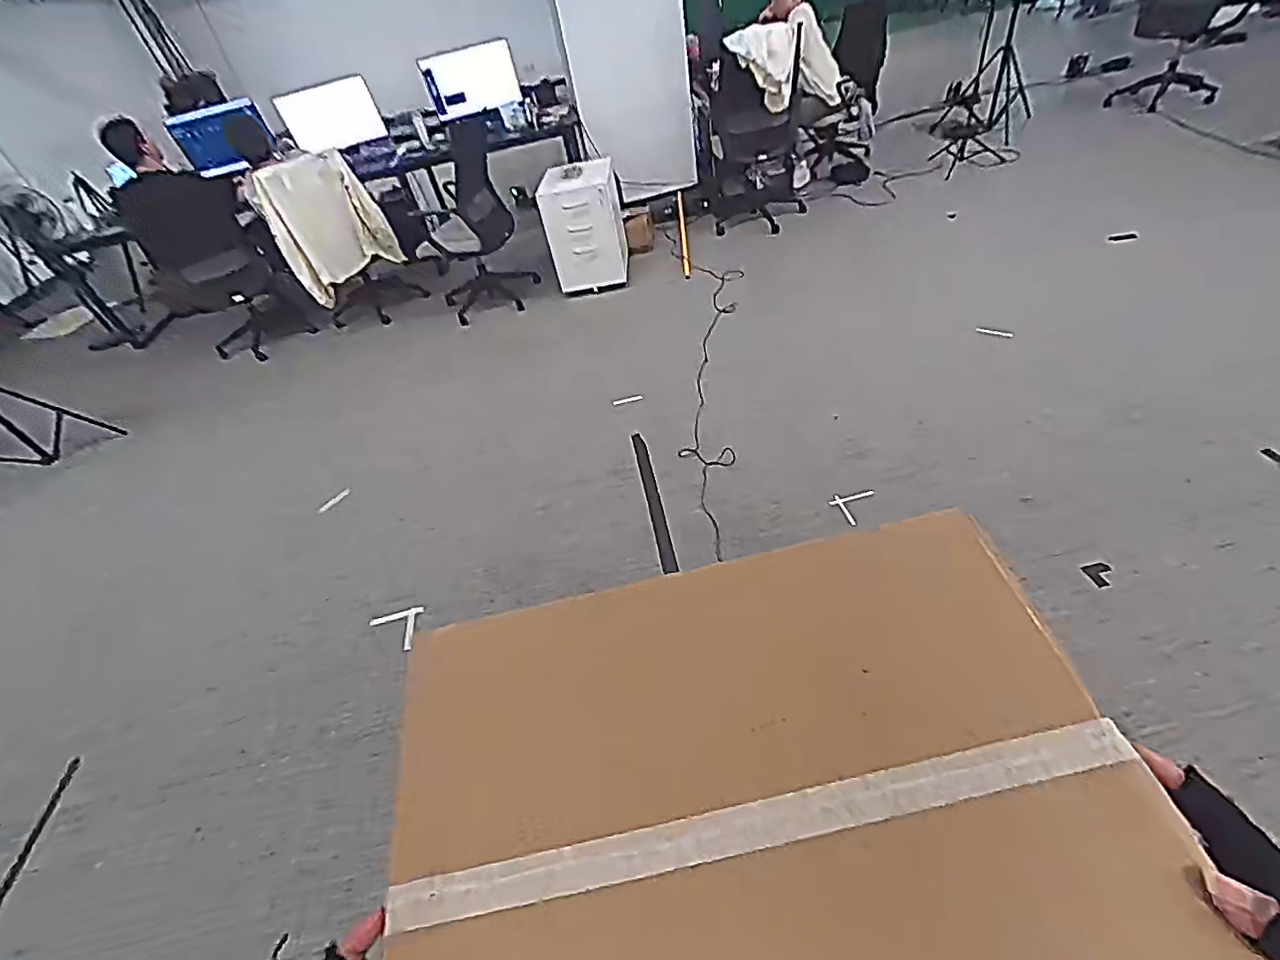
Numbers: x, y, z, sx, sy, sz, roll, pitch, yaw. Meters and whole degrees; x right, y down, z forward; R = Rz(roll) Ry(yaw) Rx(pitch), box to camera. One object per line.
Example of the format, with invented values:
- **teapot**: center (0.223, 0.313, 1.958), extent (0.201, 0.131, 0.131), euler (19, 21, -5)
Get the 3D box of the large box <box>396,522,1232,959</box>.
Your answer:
- **large box**: center (0.083, 0.281, 0.419), extent (0.408, 0.320, 0.320), euler (-14, 51, 0)
